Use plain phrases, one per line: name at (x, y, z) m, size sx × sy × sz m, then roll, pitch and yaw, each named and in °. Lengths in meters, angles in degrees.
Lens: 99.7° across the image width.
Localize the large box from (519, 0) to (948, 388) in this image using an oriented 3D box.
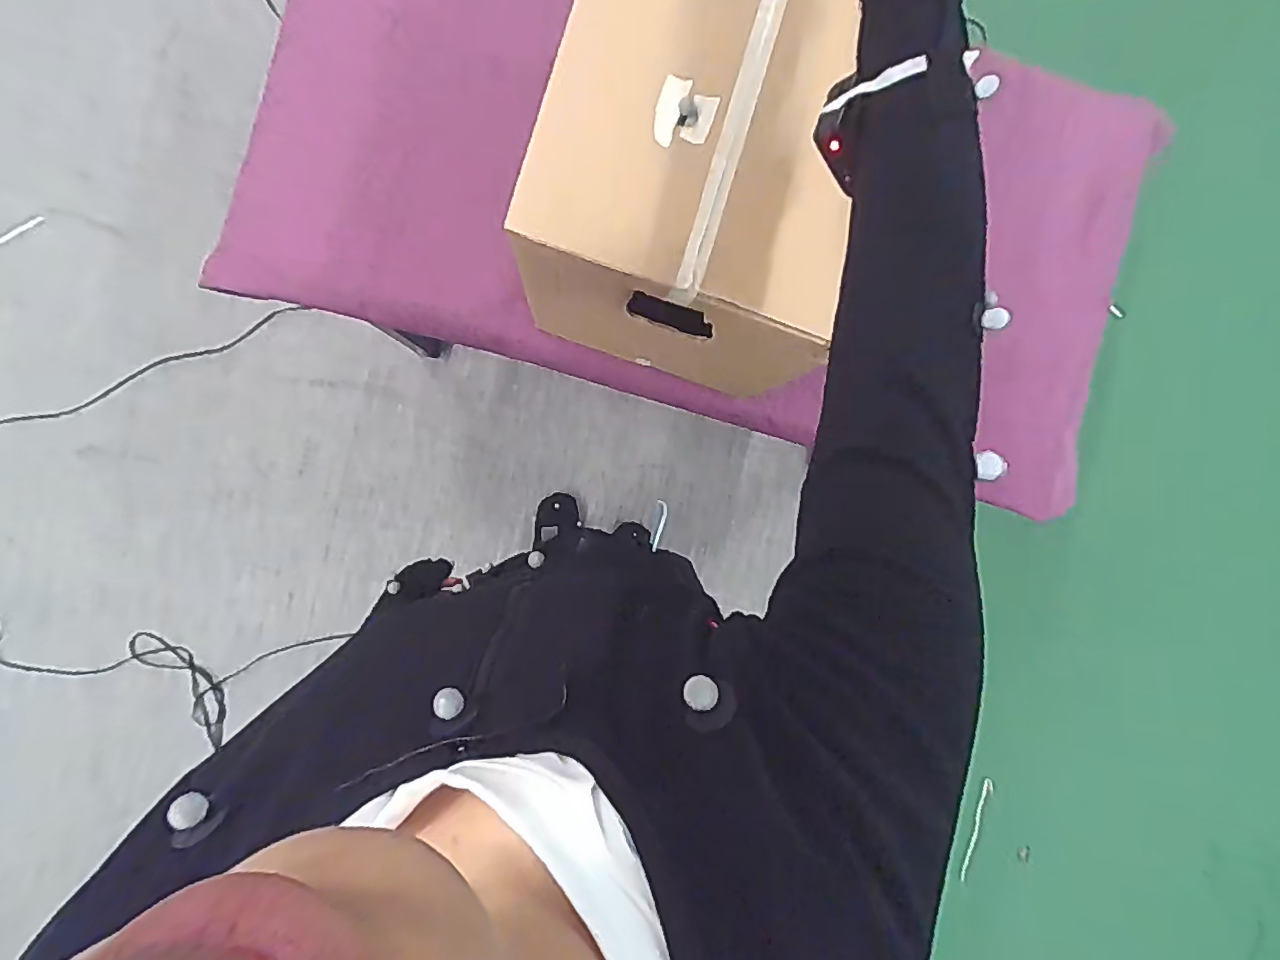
large box at (0.079, -0.359, 0.620) m, size 0.320 × 0.320 × 0.408 m, roll 18°, pitch 90°, yaw -6°
